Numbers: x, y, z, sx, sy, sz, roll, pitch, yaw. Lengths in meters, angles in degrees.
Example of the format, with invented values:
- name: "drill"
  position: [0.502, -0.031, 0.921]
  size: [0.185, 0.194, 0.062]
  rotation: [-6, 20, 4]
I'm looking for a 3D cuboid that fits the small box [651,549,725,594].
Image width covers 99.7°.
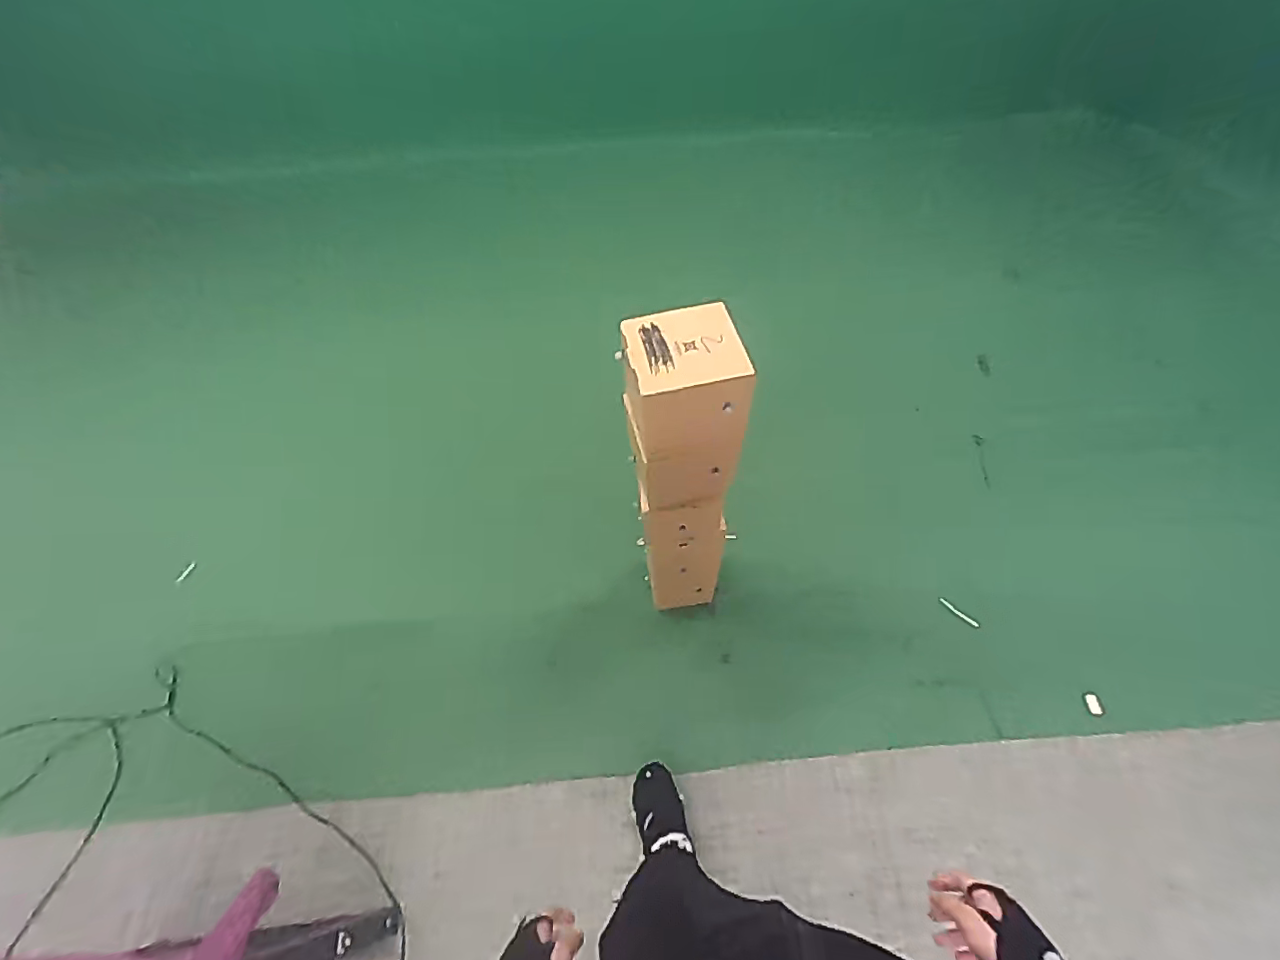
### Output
- name: "small box"
  position: [0.121, 0.196, 1.453]
  size: [0.179, 0.176, 0.168]
  rotation: [-7, 58, -1]

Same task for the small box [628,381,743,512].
- name: "small box"
  position: [0.081, -0.061, 1.038]
  size: [0.179, 0.176, 0.168]
  rotation: [-13, 57, -4]

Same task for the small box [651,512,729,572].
- name: "small box"
  position: [0.108, 0.111, 1.314]
  size: [0.179, 0.176, 0.168]
  rotation: [-9, 58, -3]

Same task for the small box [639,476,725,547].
- name: "small box"
  position: [0.086, 0.036, 1.170]
  size: [0.168, 0.176, 0.179]
  rotation: [-6, 59, 0]

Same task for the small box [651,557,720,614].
- name: "small box"
  position: [0.128, 0.282, 1.590]
  size: [0.179, 0.176, 0.168]
  rotation: [-8, 57, -2]
